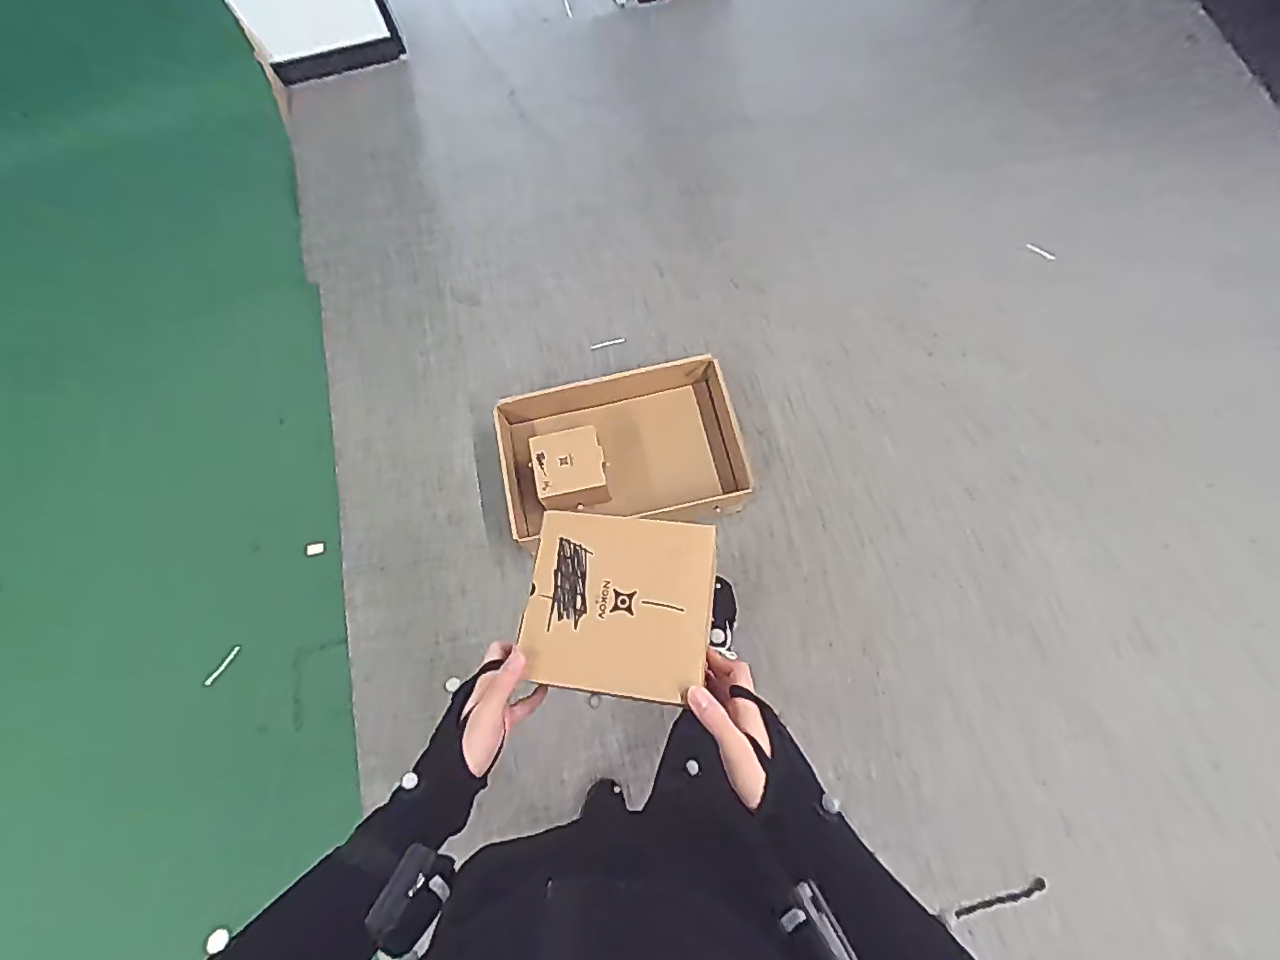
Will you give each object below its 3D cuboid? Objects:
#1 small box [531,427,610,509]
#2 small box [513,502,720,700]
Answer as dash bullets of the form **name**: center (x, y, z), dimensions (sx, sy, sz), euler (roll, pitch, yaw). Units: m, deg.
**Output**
- **small box**: center (-0.177, -0.022, 1.426), dimensions (0.179, 0.176, 0.168), euler (-11, 72, -3)
- **small box**: center (-0.010, 0.136, 0.577), dimensions (0.179, 0.176, 0.168), euler (5, 67, 9)
